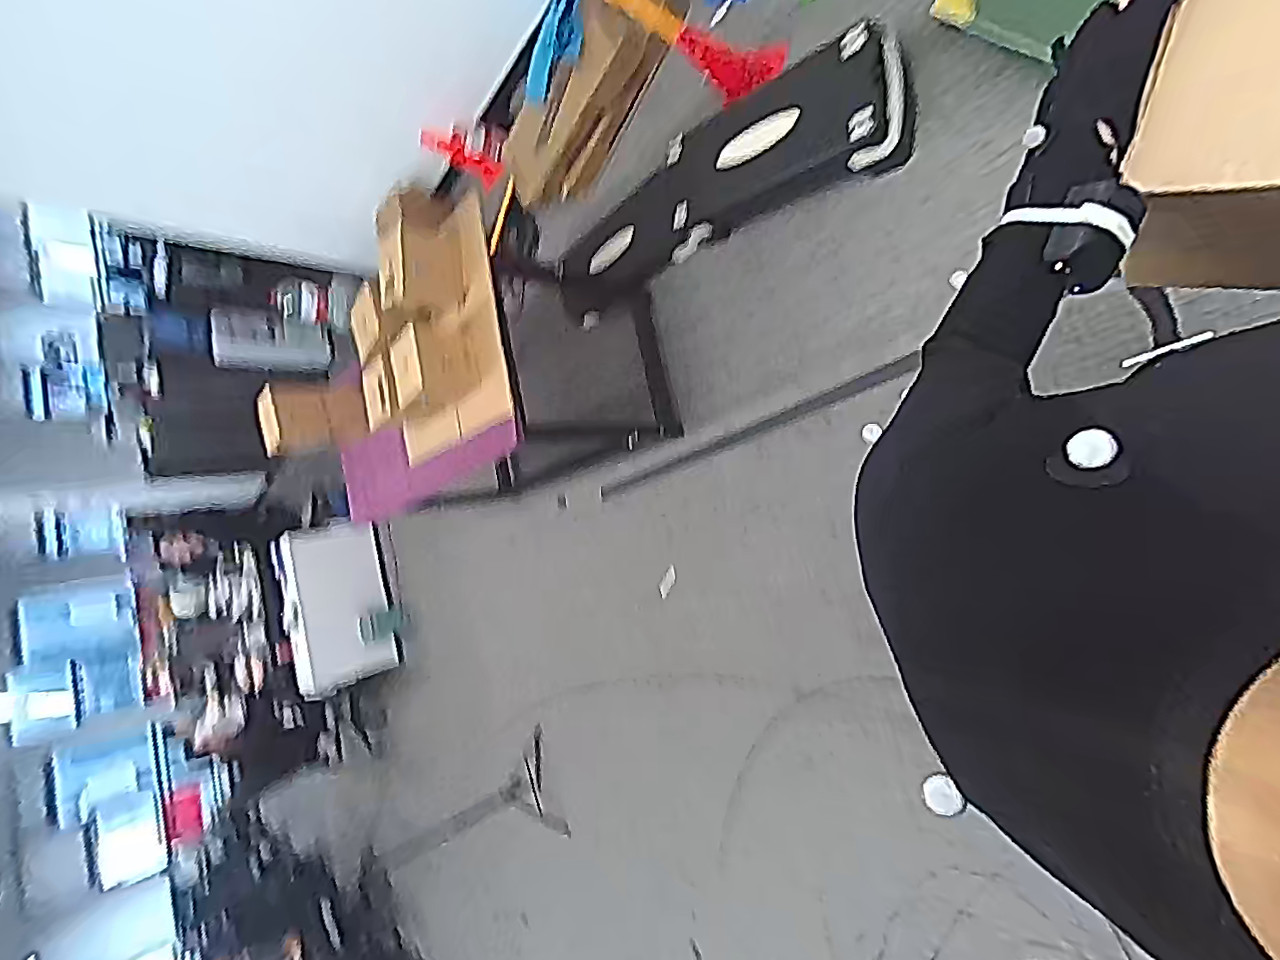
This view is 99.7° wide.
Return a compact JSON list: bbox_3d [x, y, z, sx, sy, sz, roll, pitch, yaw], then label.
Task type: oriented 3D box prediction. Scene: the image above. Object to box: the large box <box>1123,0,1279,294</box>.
[{"bbox_3d":[0.653,-0.320,0.386,0.408,0.320,0.320,22,106,40],"label":"large box"}]
